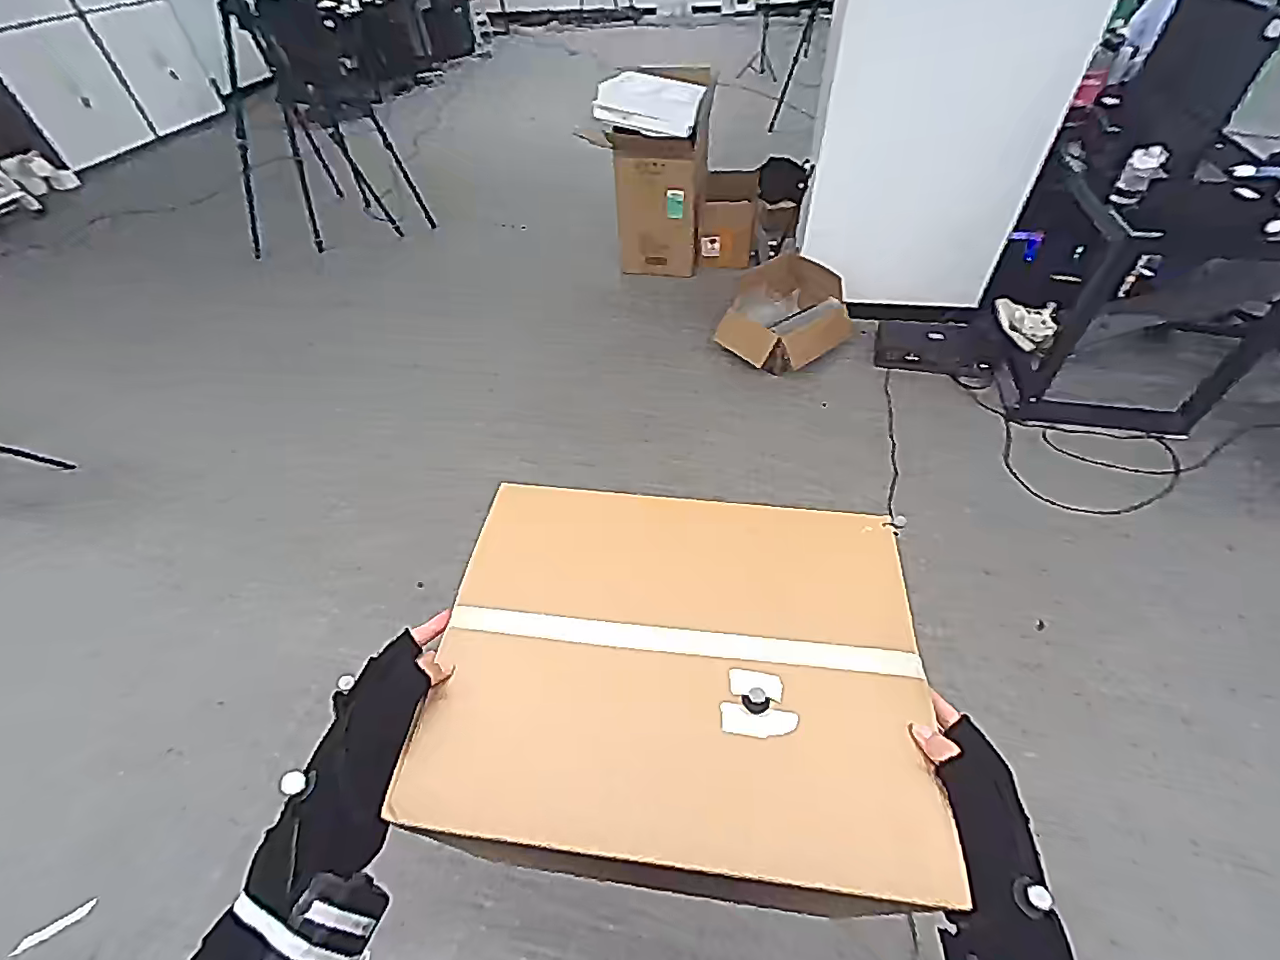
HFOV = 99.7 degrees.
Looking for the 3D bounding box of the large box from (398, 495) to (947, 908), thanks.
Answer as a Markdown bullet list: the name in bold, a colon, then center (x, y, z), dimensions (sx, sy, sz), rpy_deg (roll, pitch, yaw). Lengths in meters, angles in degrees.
- **large box**: center (0.032, 0.241, 0.592), dimensions (0.408, 0.320, 0.320), rpy_deg (5, 50, 5)
